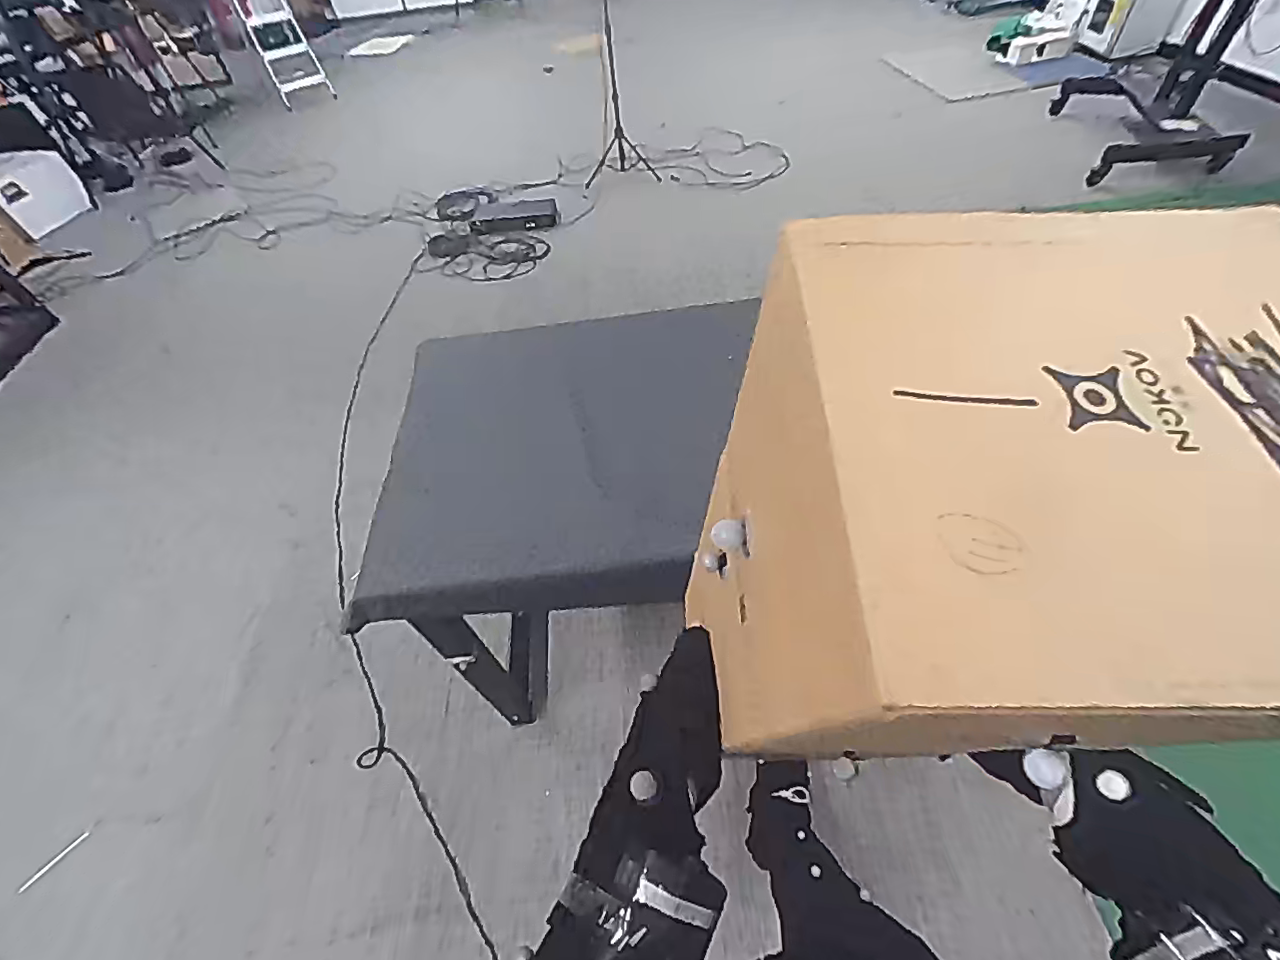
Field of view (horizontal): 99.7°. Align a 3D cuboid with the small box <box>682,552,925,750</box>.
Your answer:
[{"bbox_3d":[0.136,0.166,0.525,0.179,0.176,0.168,-2,61,0],"label":"small box"}]
